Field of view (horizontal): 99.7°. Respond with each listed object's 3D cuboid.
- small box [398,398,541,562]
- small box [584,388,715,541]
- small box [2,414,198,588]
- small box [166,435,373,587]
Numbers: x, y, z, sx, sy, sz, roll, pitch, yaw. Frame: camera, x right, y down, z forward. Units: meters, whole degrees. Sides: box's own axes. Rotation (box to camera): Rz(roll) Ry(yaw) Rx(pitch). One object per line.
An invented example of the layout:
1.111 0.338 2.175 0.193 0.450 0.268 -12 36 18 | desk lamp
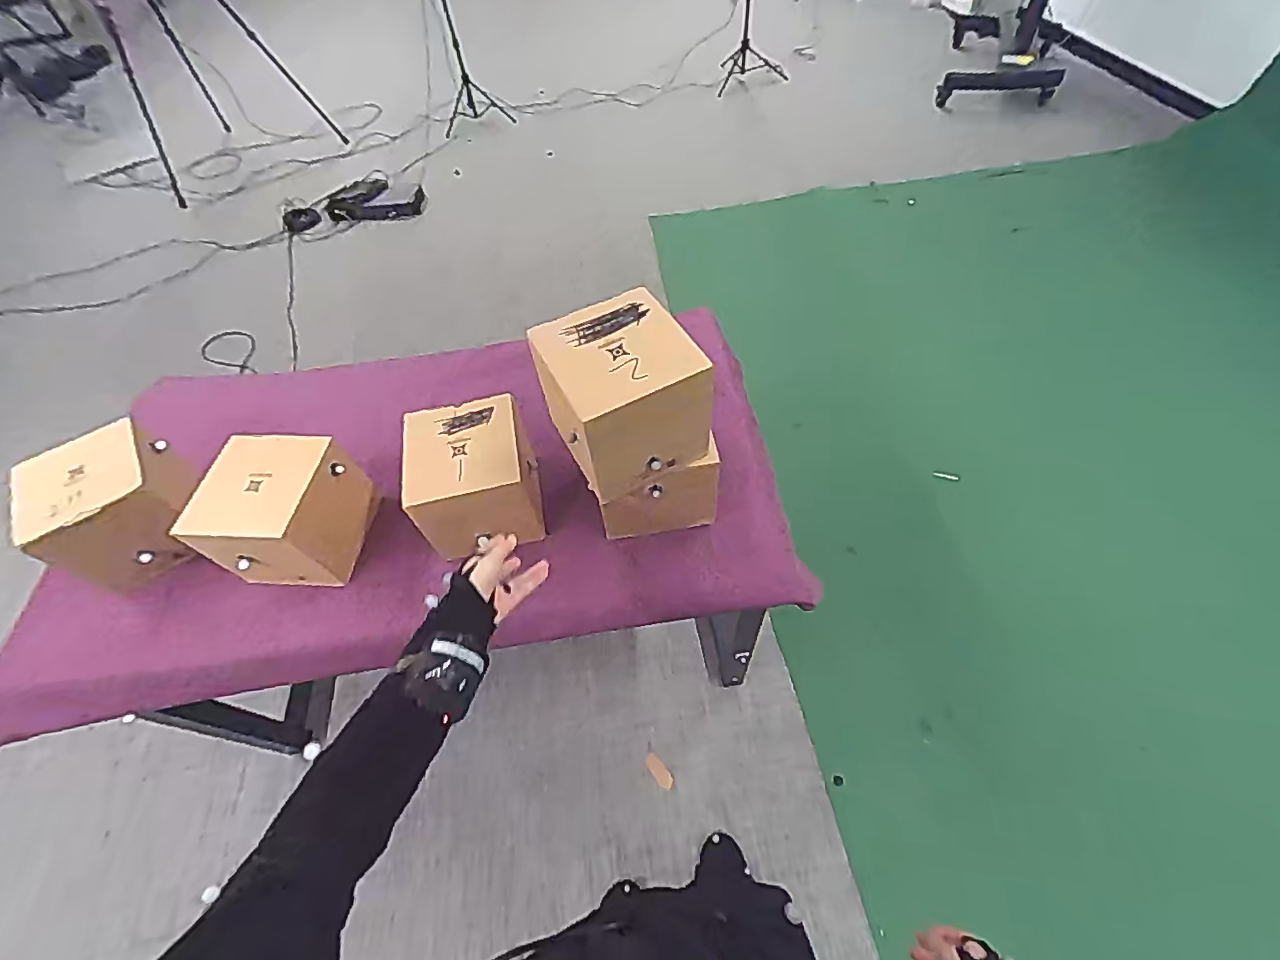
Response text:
-0.257 0.003 0.841 0.168 0.176 0.179 -12 55 -4 | small box
0.015 -0.018 0.839 0.179 0.176 0.168 -7 54 -1 | small box
-0.820 0.036 0.847 0.168 0.176 0.179 -31 59 -17 | small box
-0.542 0.051 0.826 0.168 0.176 0.179 2 54 5 | small box
